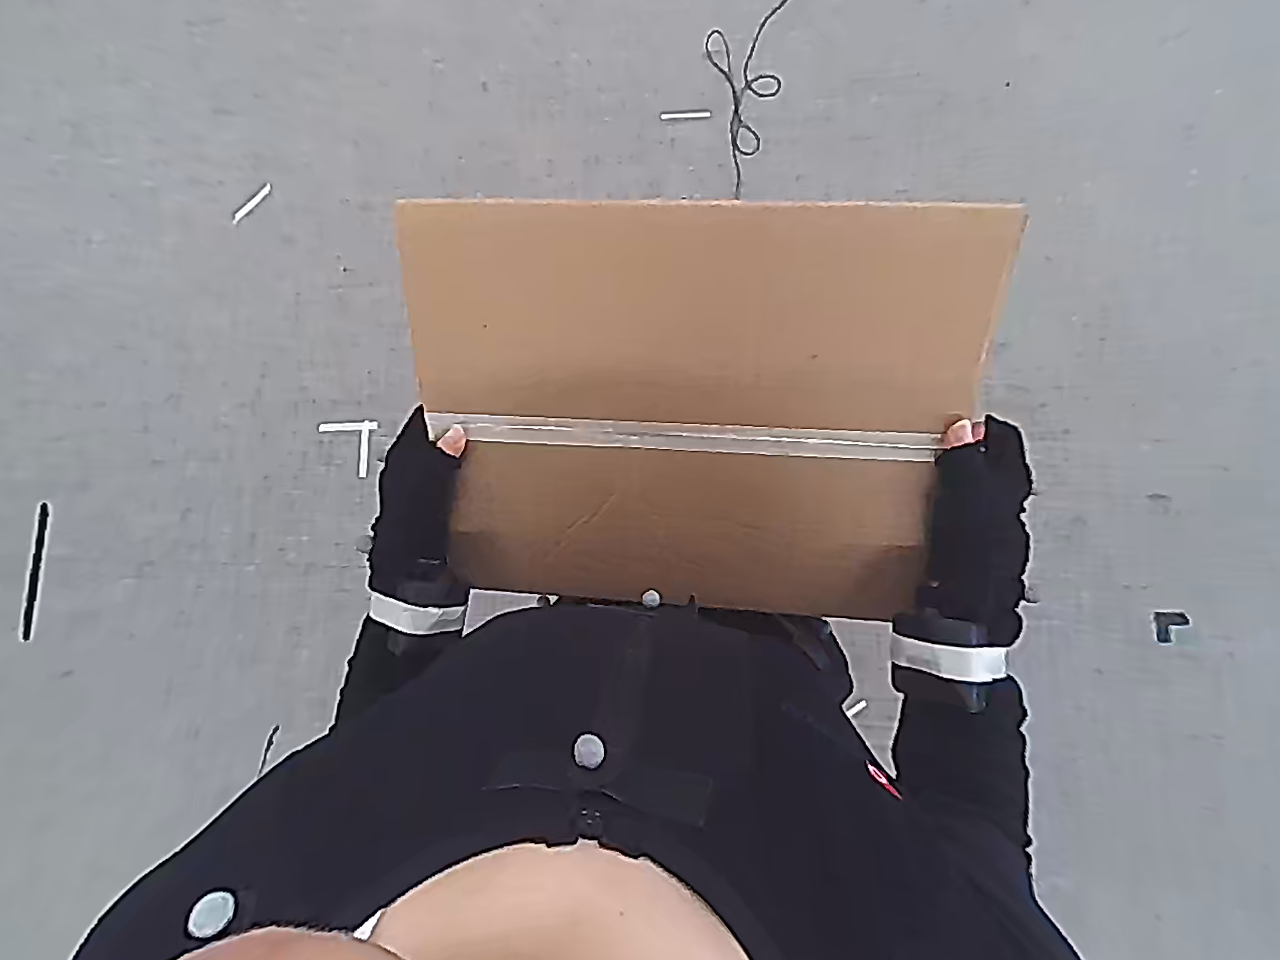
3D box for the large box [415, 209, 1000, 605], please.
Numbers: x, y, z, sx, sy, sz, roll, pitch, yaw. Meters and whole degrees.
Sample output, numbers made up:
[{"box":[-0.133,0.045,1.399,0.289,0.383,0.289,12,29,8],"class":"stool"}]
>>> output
[{"box":[0.053,-0.099,0.559,0.408,0.320,0.320,3,114,6],"class":"large box"}]
